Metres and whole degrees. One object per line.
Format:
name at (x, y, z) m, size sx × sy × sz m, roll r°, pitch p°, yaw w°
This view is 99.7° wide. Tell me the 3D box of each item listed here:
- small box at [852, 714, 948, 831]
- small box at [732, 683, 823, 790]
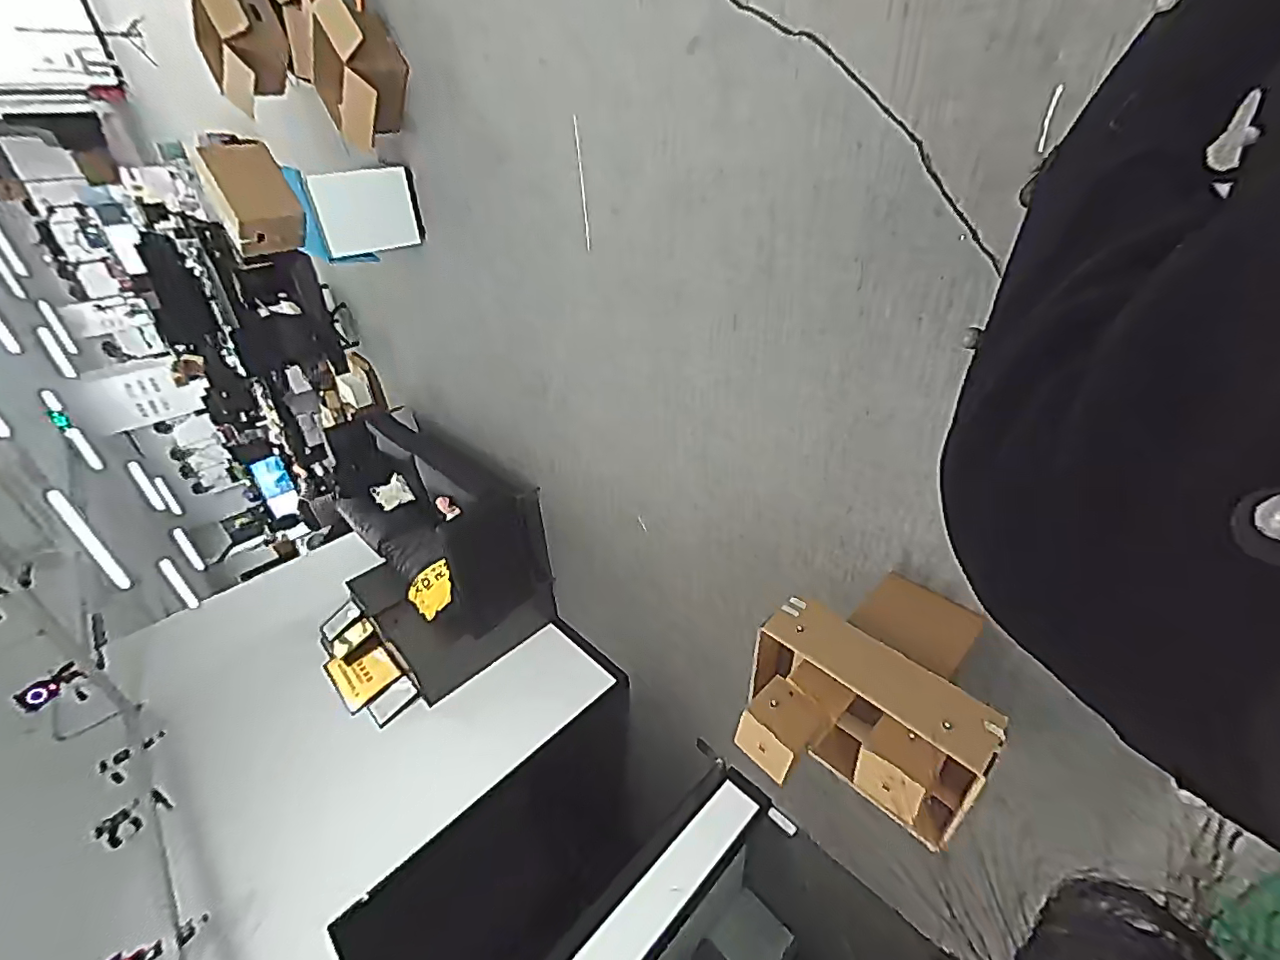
small box at (0.691, 0.771, 1.439) m, size 0.168 × 0.176 × 0.179 m, roll 26°, pitch 132°, yaw 40°
small box at (0.382, 0.703, 1.500) m, size 0.168 × 0.176 × 0.179 m, roll 35°, pitch 137°, yaw 34°
